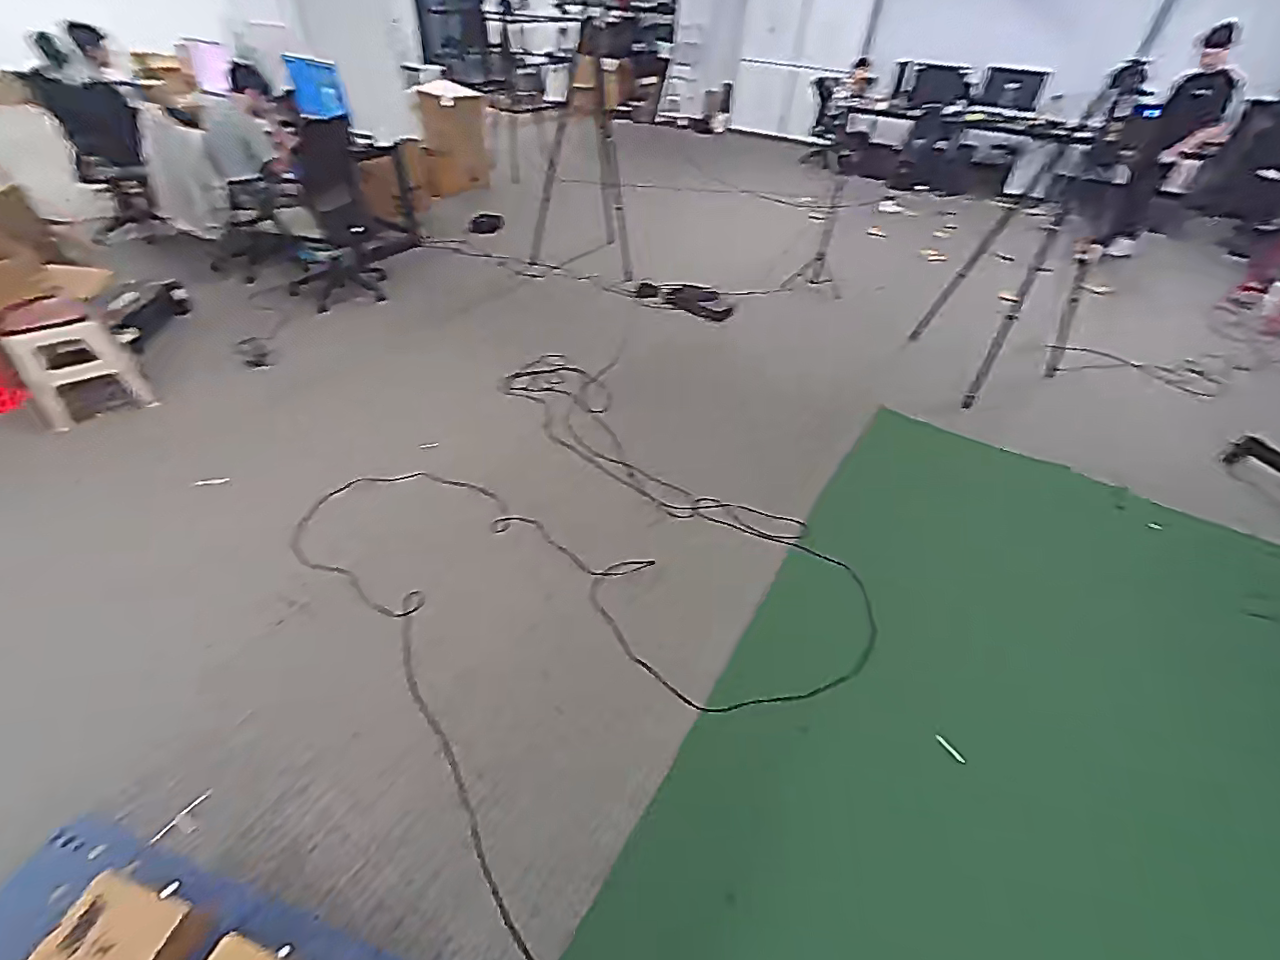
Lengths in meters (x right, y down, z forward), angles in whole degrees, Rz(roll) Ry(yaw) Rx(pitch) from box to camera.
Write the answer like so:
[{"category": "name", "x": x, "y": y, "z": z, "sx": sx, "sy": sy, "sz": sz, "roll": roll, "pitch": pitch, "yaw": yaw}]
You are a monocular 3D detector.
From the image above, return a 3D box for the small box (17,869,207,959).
[{"category": "small box", "x": -0.927, "y": 0.826, "z": 0.954, "sx": 0.179, "sy": 0.176, "sz": 0.168, "roll": 22, "pitch": 44, "yaw": 1}]

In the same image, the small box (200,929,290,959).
[{"category": "small box", "x": -0.699, "y": 0.926, "z": 0.938, "sx": 0.179, "sy": 0.176, "sz": 0.168, "roll": 24, "pitch": 44, "yaw": 3}]
